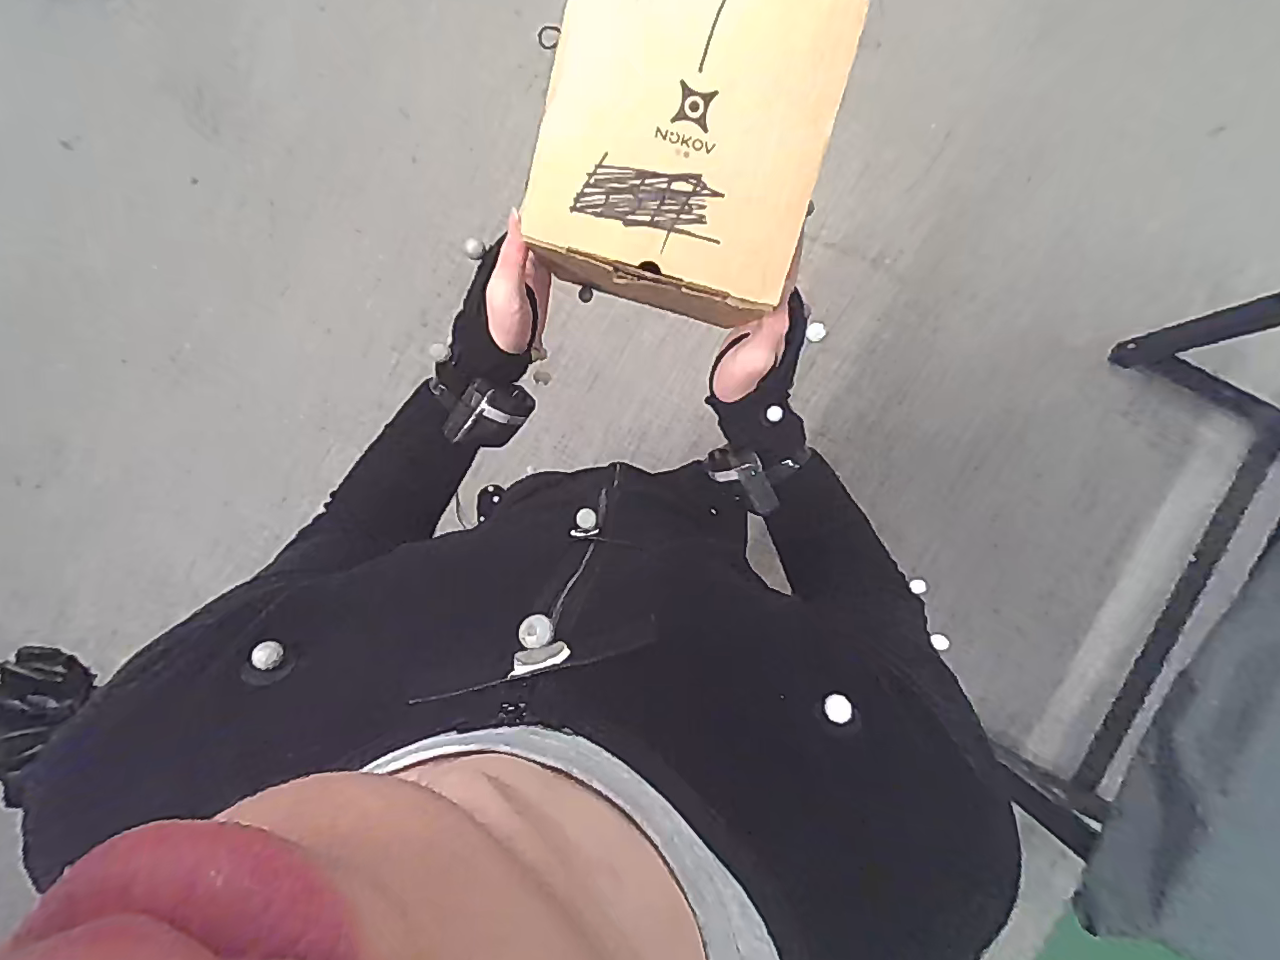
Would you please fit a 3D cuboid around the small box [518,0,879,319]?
[{"bbox_3d":[0.029,-0.222,0.381,0.168,0.176,0.179,16,102,-4],"label":"small box"}]
